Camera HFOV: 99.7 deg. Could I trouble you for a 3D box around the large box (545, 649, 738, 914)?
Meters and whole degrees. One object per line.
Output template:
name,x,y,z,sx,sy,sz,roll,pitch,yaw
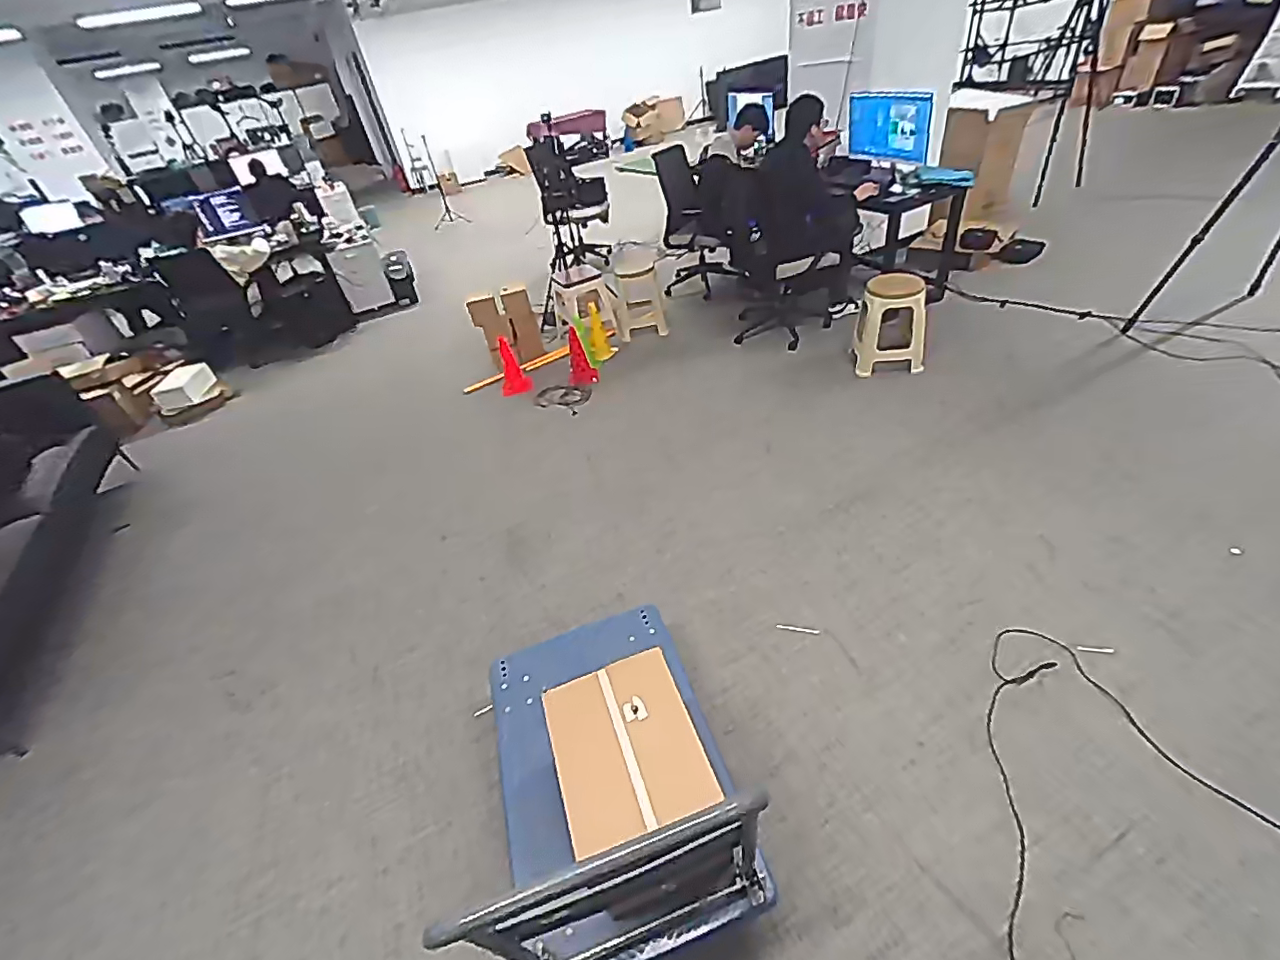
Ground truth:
large box,-0.001,0.696,1.278,0.320,0.320,0.408,-18,39,-10
